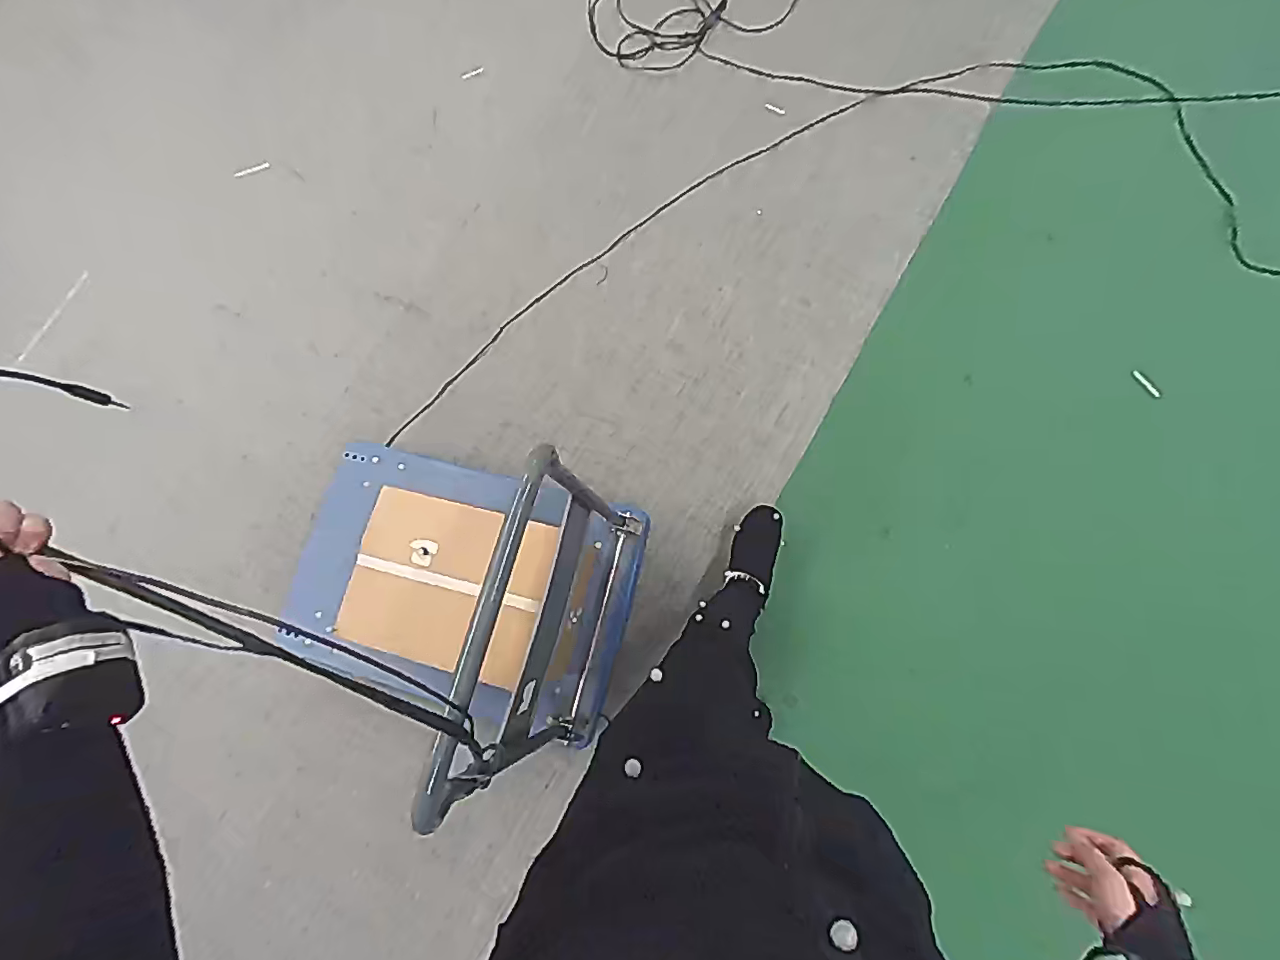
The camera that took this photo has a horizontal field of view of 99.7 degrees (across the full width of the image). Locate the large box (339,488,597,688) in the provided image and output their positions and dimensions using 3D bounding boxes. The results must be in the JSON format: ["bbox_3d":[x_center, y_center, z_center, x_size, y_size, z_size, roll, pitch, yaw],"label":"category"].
[{"bbox_3d":[-0.344,0.231,1.191,0.408,0.320,0.320,12,79,11],"label":"large box"}]
